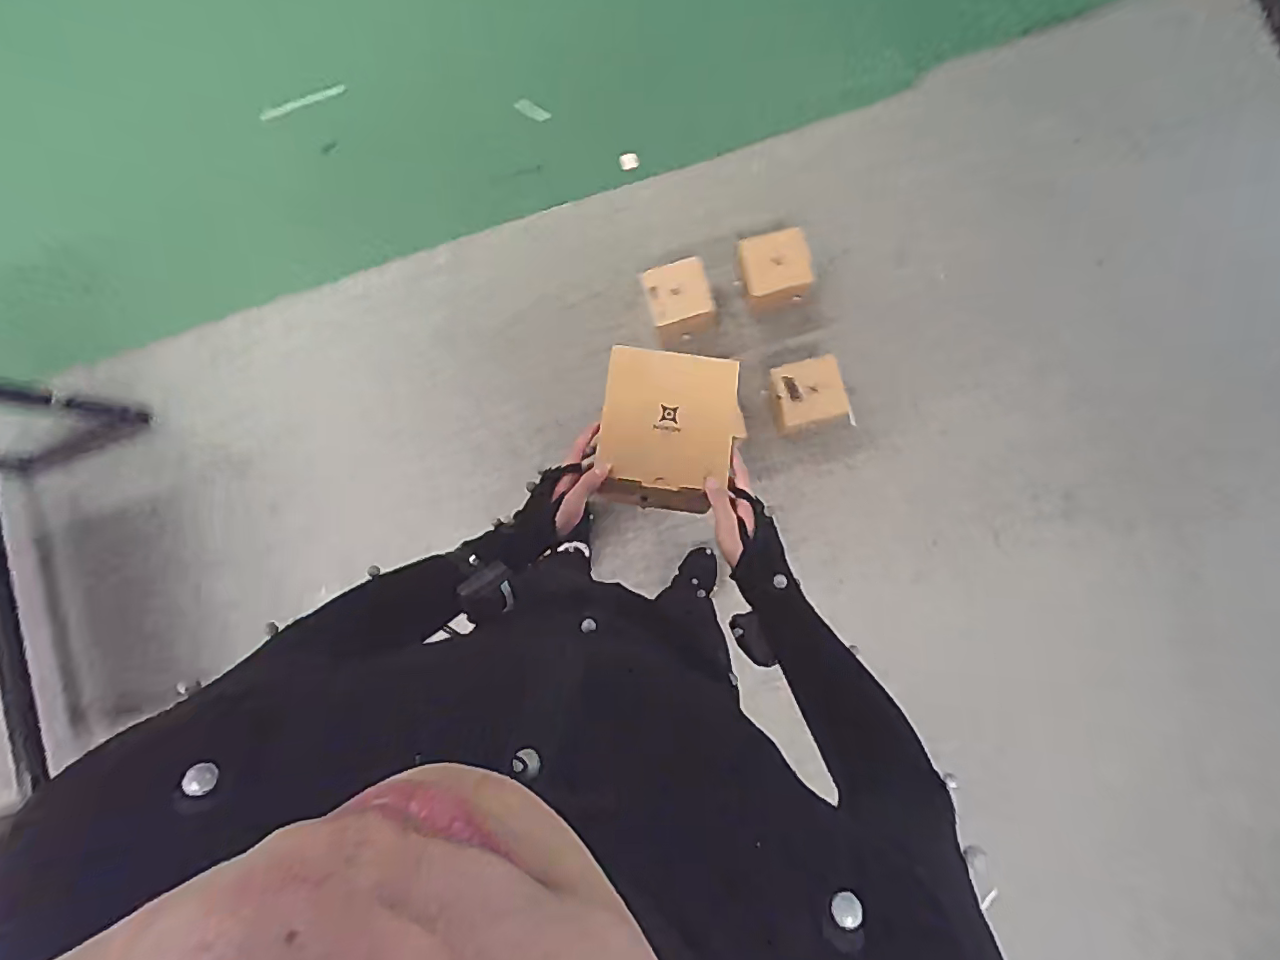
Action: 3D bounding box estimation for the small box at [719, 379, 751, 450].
[{"bbox_3d":[0.208,-0.175,1.554,0.179,0.176,0.168,-13,85,6],"label":"small box"}]

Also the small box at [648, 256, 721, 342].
[{"bbox_3d":[0.129,-0.523,1.583,0.179,0.176,0.168,-14,85,5],"label":"small box"}]

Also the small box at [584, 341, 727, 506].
[{"bbox_3d":[0.018,-0.068,0.750,0.168,0.176,0.179,6,80,-1],"label":"small box"}]

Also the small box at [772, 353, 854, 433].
[{"bbox_3d":[0.478,-0.237,1.524,0.179,0.176,0.168,-13,86,6],"label":"small box"}]
